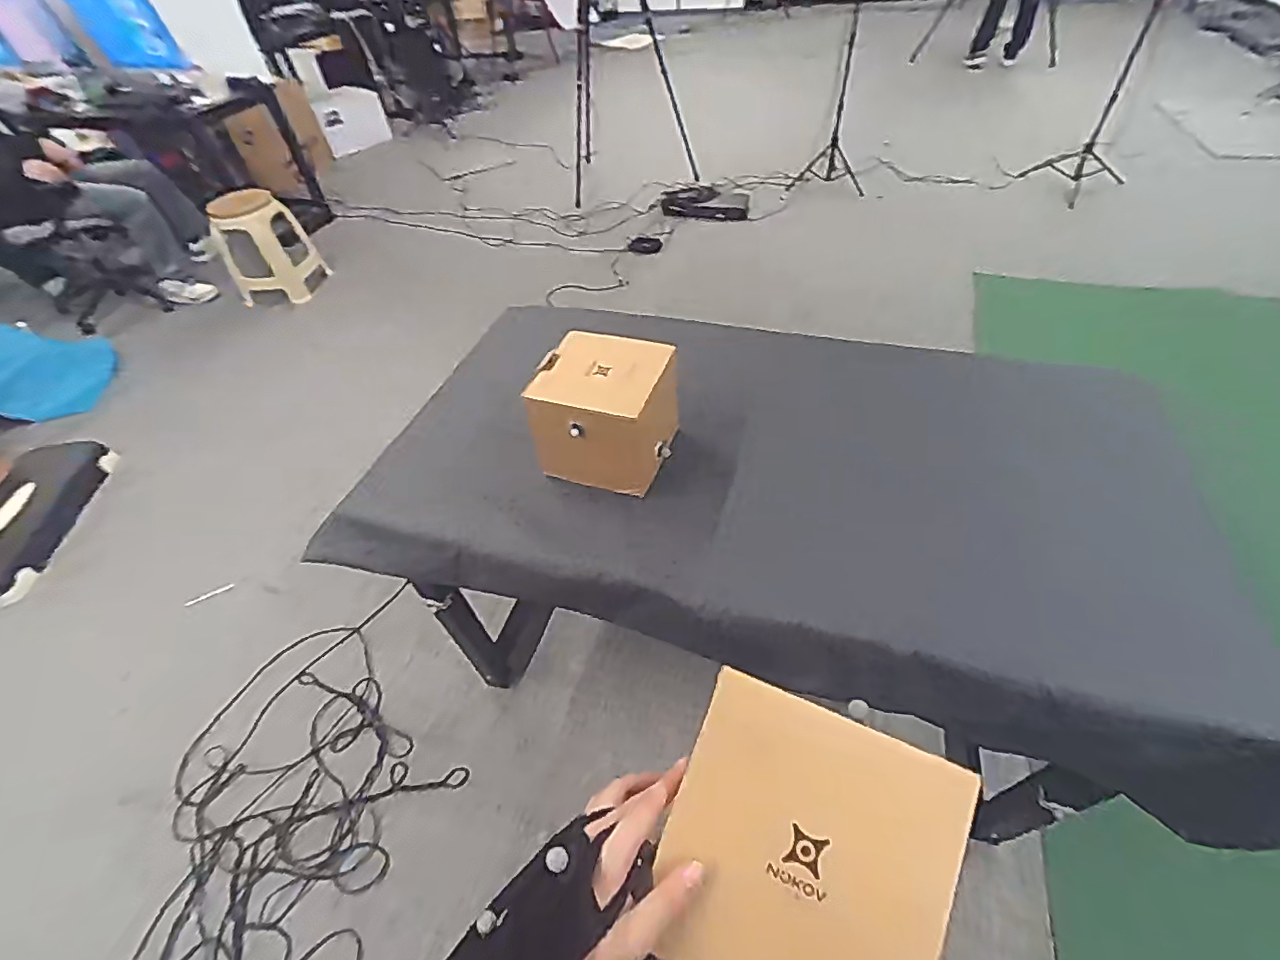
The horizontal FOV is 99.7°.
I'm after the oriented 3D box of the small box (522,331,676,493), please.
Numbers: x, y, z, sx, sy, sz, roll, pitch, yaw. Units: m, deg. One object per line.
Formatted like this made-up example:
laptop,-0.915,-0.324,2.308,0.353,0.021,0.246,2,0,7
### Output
small box,-0.051,-0.101,0.826,0.179,0.176,0.168,13,52,15
